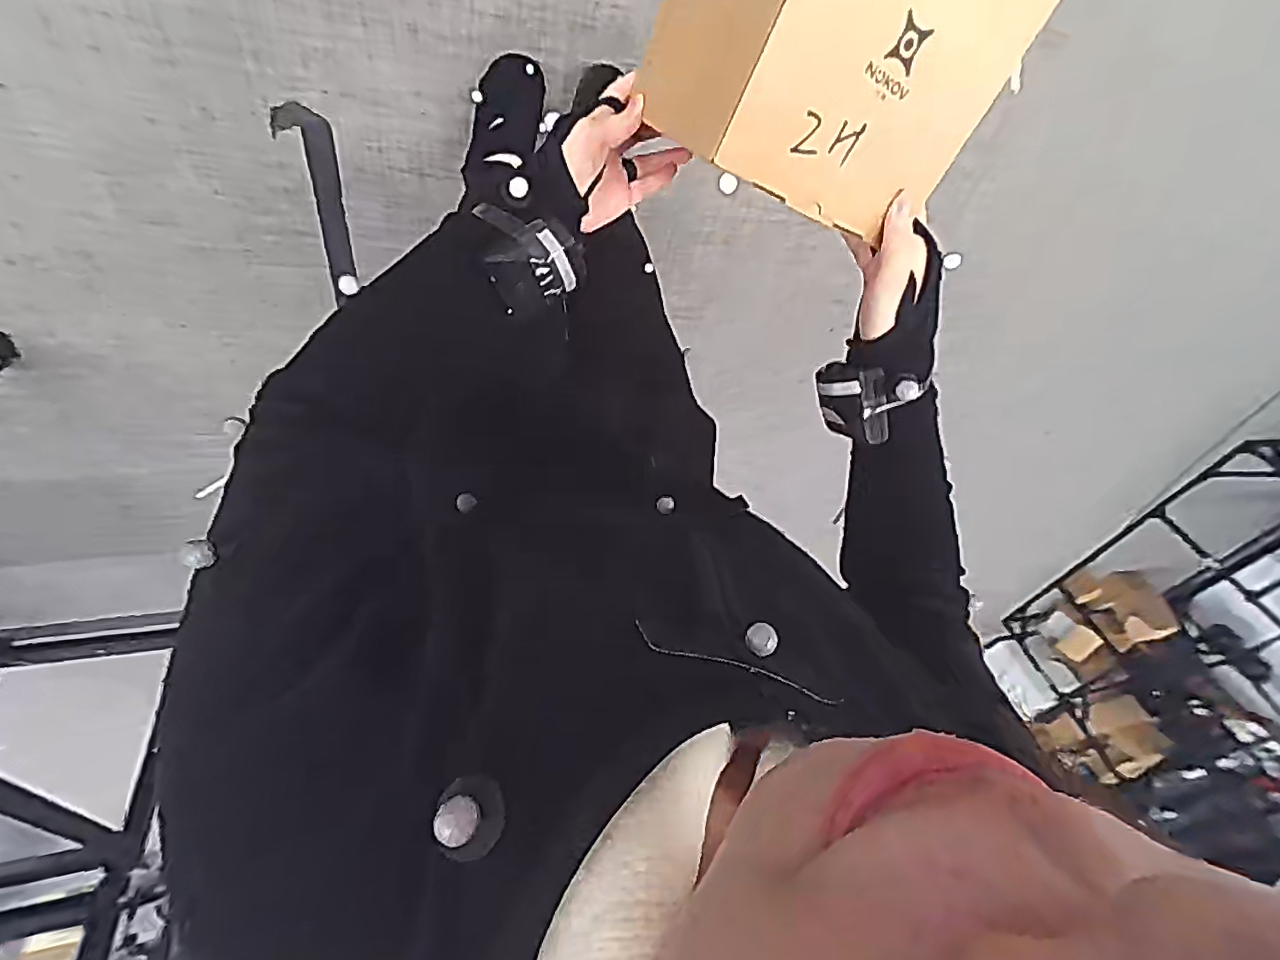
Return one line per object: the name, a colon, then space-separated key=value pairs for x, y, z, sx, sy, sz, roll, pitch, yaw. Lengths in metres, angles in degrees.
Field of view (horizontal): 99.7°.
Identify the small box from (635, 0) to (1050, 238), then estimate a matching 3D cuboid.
small box: x=0.115 y=-0.295 z=0.349 sx=0.168 sy=0.176 sz=0.179 roll=7 pitch=128 yaw=-30
